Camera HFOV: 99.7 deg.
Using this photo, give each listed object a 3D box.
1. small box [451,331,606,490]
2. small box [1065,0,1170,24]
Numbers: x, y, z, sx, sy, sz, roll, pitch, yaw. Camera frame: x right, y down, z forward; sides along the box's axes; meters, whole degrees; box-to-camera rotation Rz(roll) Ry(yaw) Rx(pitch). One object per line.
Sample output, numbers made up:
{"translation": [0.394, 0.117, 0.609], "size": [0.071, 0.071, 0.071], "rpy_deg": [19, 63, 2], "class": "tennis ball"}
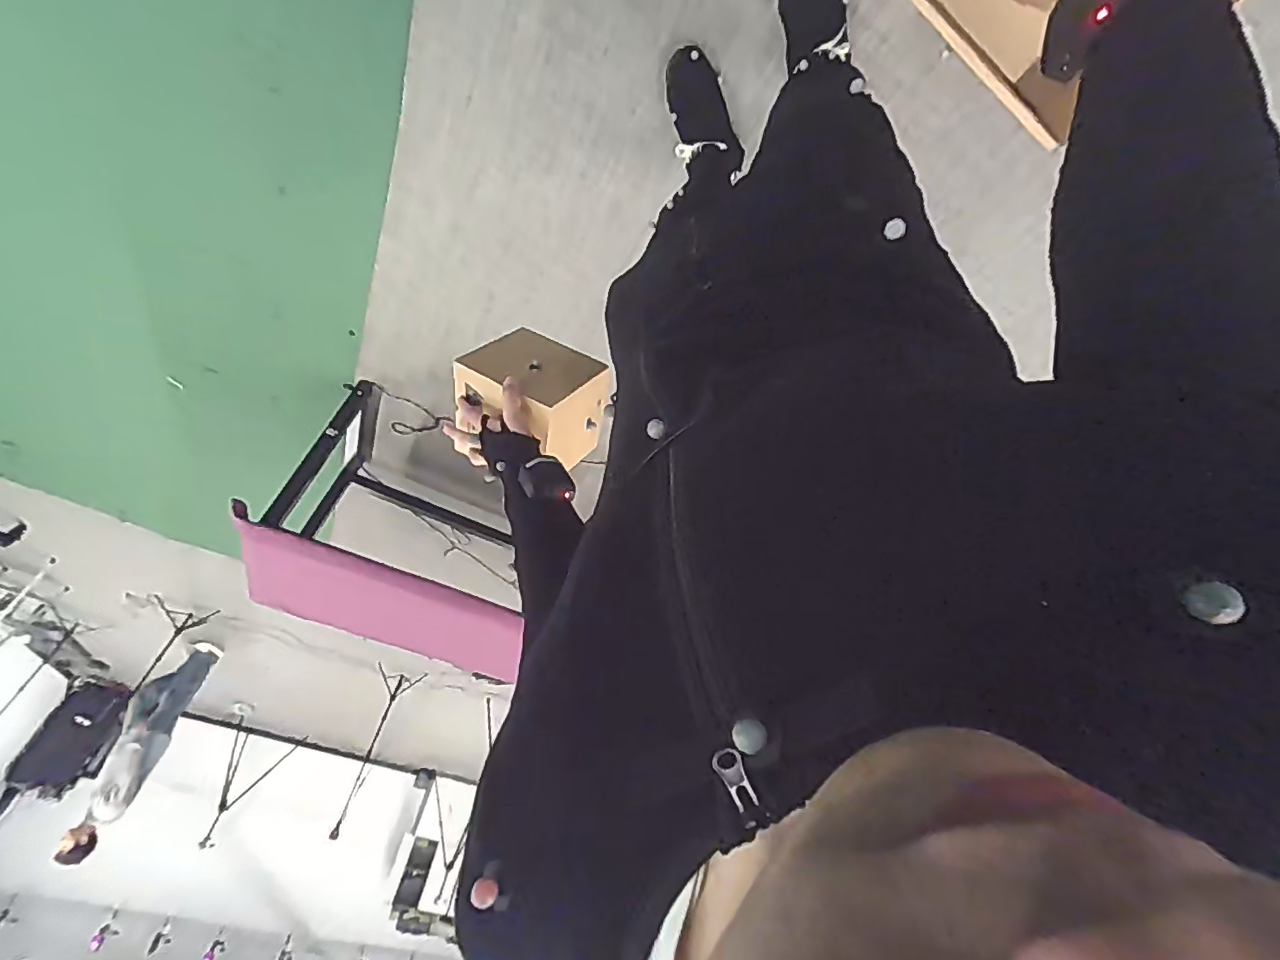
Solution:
{"translation": [-0.179, -0.120, 0.868], "size": [0.179, 0.176, 0.168], "rpy_deg": [26, 131, 13], "class": "small box"}
{"translation": [0.453, -0.552, 0.465], "size": [0.168, 0.176, 0.179], "rpy_deg": [32, 131, -24], "class": "small box"}
